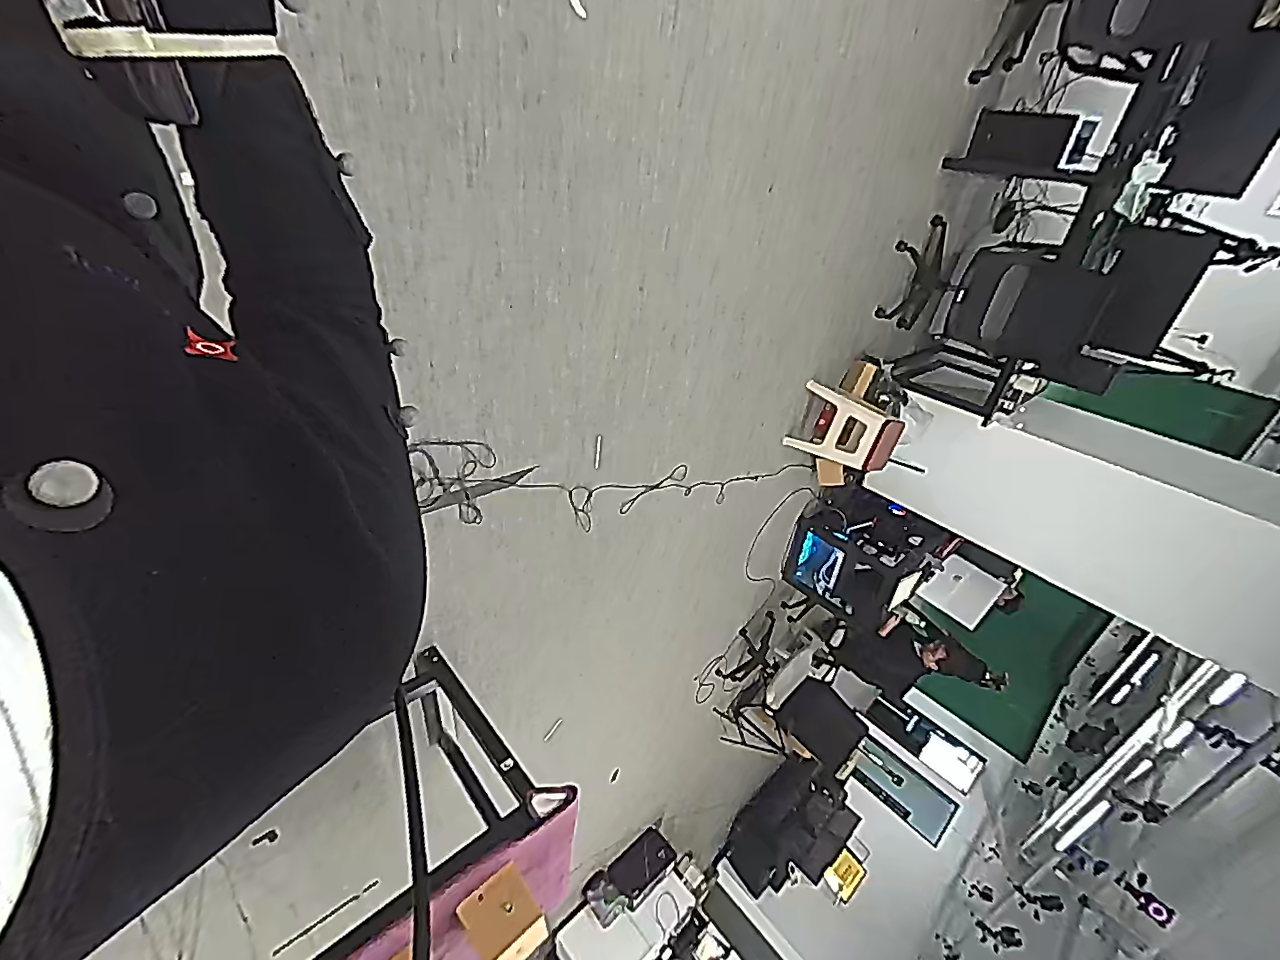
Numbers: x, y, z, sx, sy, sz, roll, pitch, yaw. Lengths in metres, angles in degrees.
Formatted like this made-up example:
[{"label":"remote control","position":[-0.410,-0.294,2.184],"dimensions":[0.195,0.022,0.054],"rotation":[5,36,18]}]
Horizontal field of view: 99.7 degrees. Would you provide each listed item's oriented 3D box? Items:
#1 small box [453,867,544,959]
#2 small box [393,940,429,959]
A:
[{"label":"small box","position":[-0.374,1.176,1.428],"dimensions":[0.168,0.176,0.179],"rotation":[-27,135,-34]},{"label":"small box","position":[-0.560,1.251,1.269],"dimensions":[0.179,0.176,0.168],"rotation":[-24,134,-35]}]
